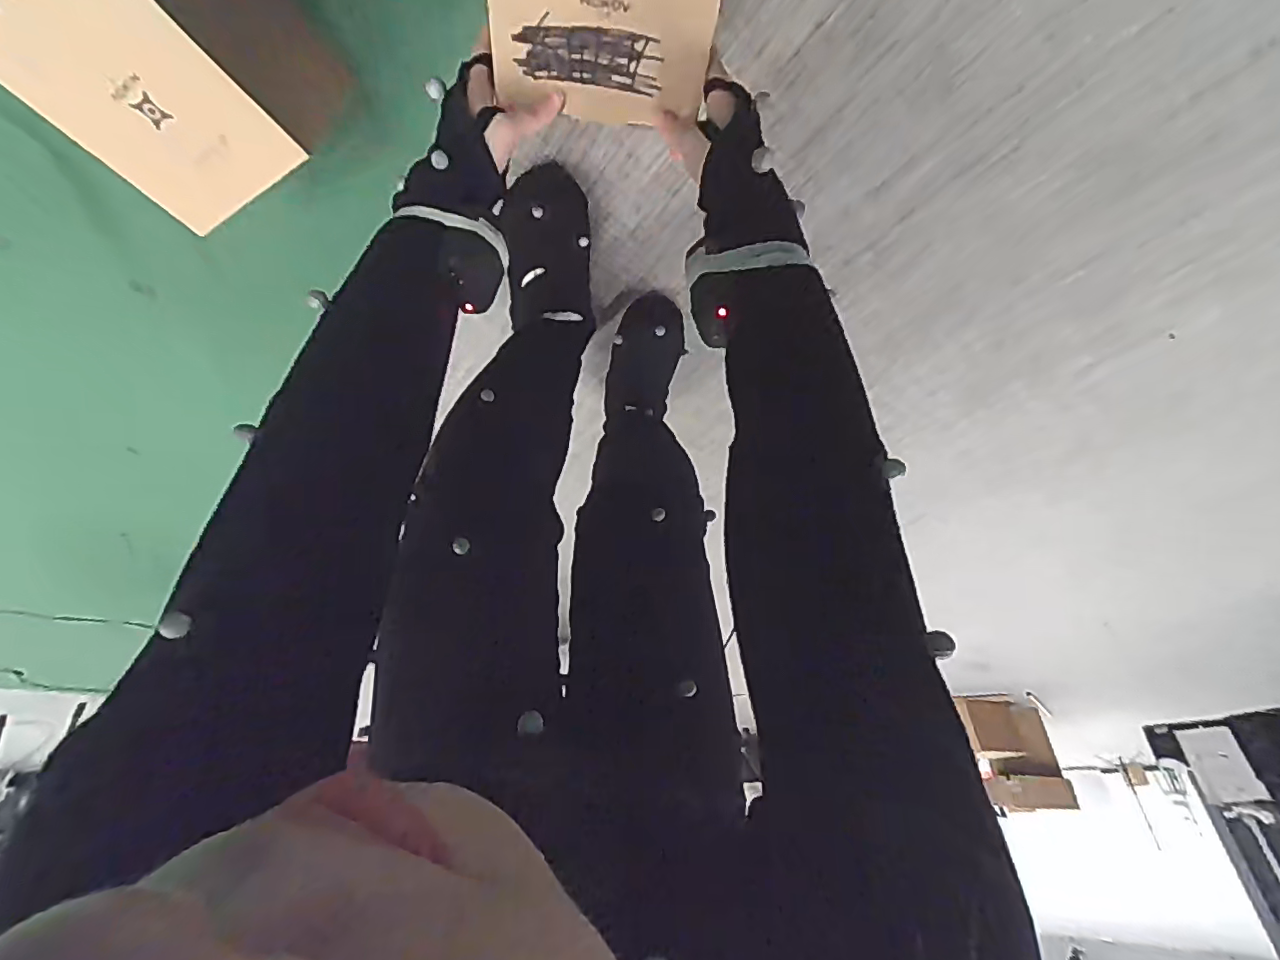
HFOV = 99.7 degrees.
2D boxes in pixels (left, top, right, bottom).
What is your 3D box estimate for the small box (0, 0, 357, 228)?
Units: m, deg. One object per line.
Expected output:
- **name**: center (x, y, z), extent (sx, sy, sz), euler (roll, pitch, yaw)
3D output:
- **small box**: center (-0.396, -0.376, 0.483), extent (0.168, 0.176, 0.179), euler (-16, 144, 22)
